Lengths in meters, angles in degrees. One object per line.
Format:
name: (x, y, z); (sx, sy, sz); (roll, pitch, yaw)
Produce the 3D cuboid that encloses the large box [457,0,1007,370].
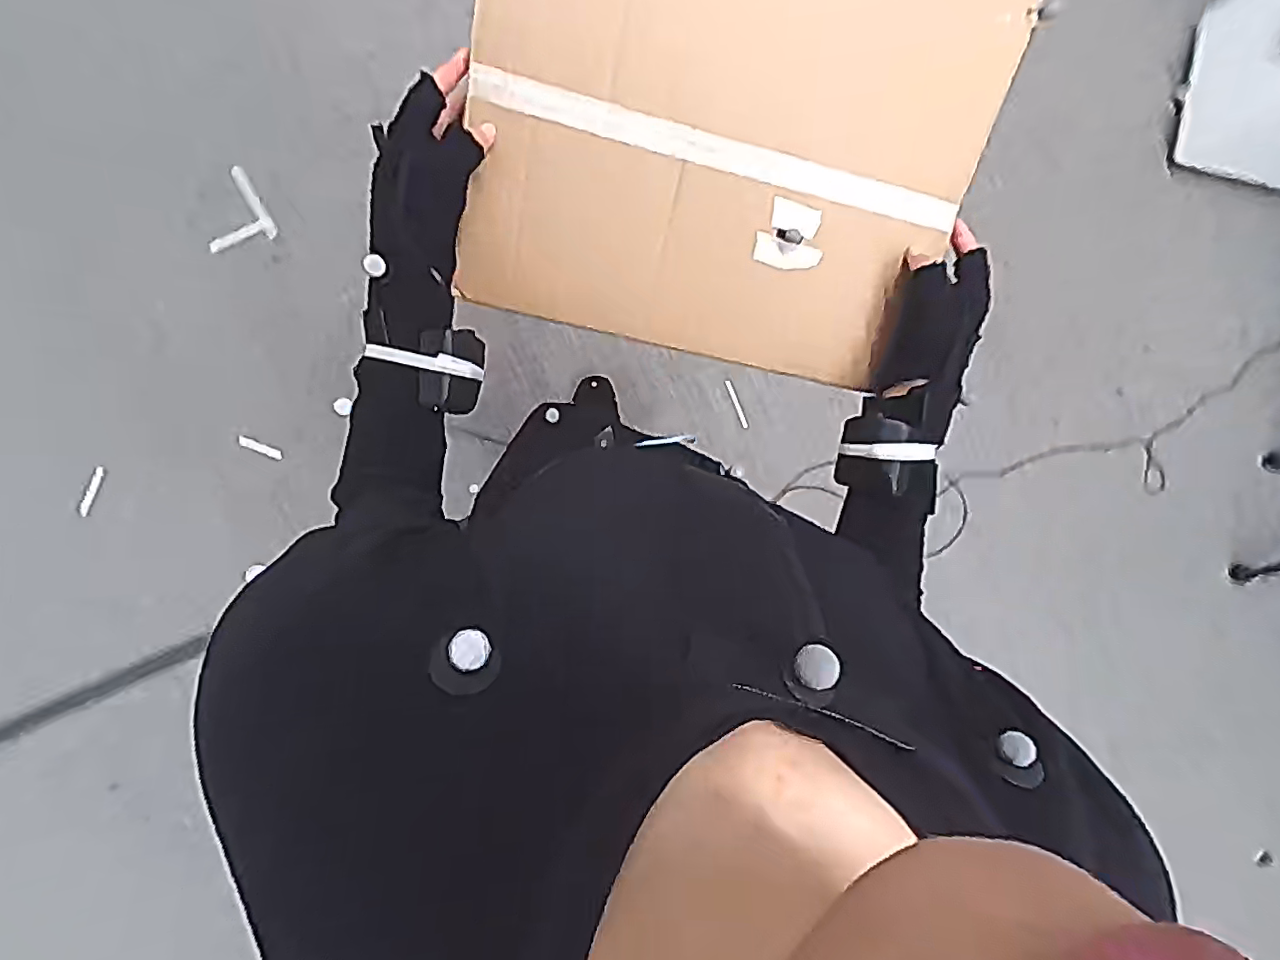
large box: (0.048, -0.331, 0.574); (0.408, 0.320, 0.320); (9, 113, -10)
